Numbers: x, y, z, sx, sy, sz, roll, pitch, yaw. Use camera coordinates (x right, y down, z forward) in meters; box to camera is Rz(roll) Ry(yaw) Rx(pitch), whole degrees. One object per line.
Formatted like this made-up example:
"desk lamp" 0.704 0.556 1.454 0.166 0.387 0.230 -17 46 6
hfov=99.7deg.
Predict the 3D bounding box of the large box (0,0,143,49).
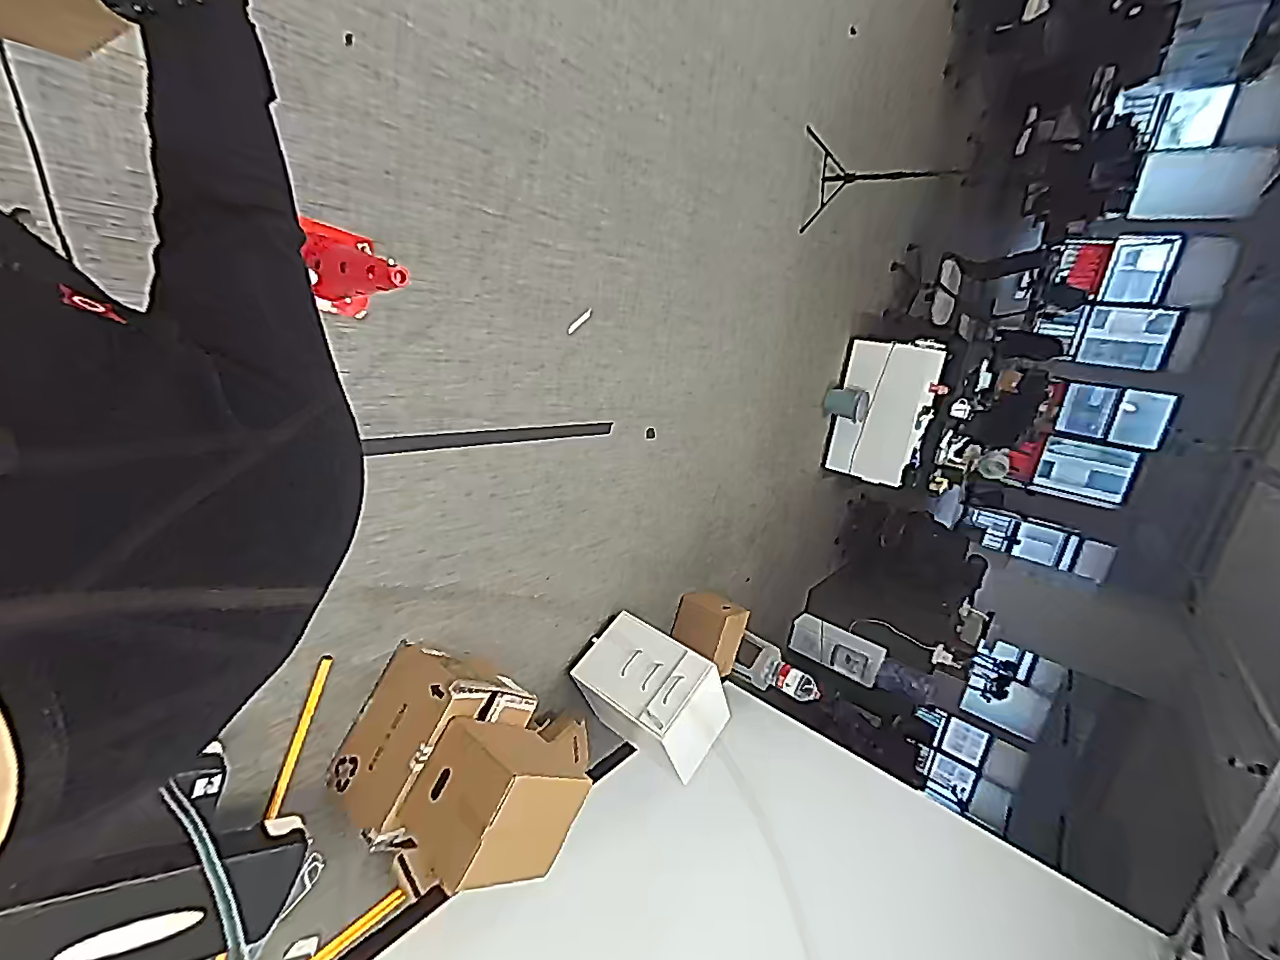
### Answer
"large box" -0.551 -0.486 0.255 0.408 0.320 0.320 -13 121 -50

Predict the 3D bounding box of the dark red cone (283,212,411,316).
"dark red cone" -0.616 -0.461 1.195 0.201 0.394 0.202 -1 107 -51
